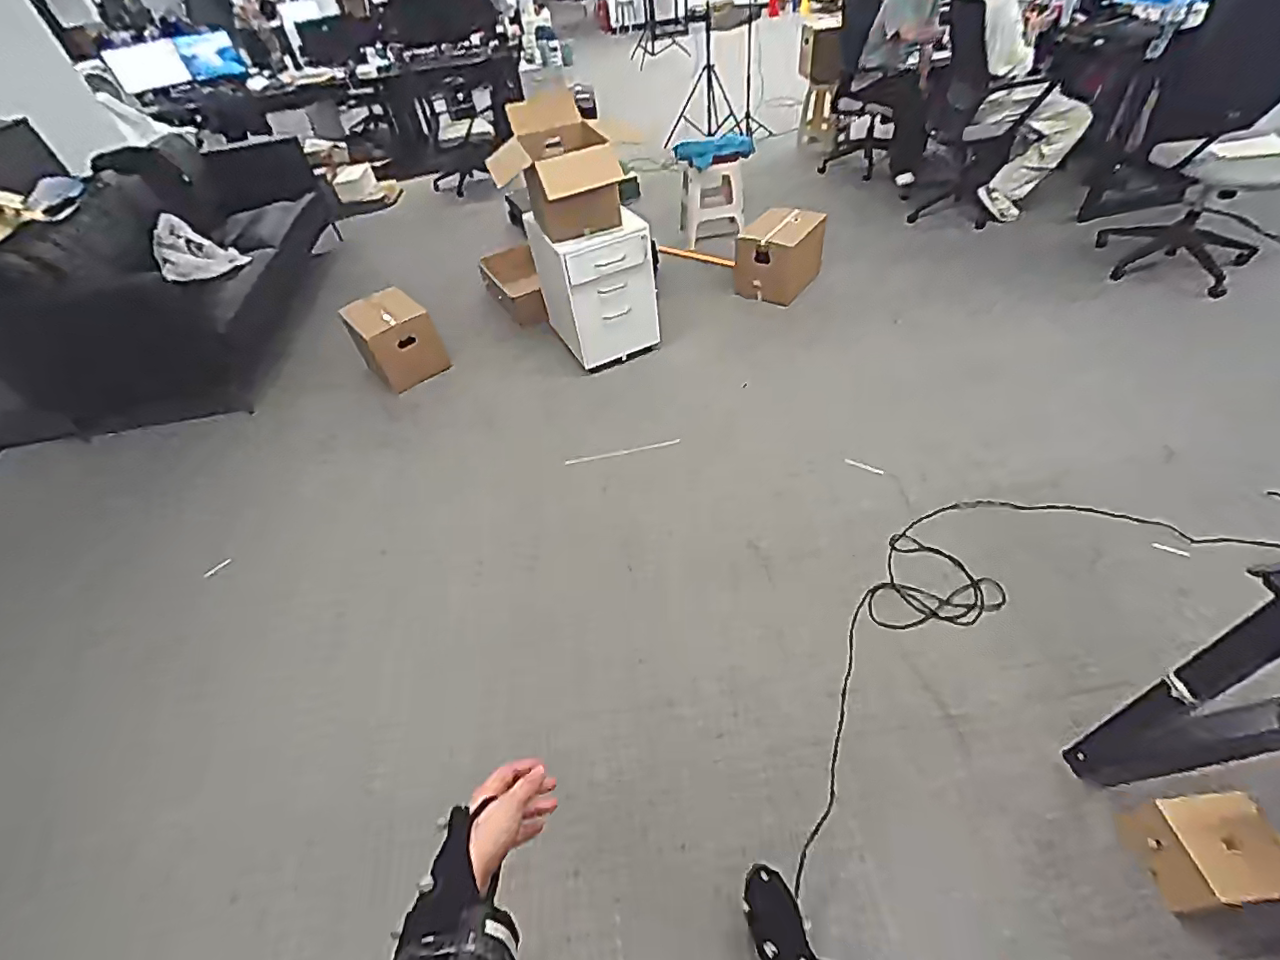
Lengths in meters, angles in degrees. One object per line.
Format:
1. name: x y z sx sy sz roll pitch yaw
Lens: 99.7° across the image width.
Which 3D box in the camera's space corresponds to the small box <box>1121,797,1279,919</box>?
1. small box: 1.111 0.749 1.068 0.179 0.176 0.168 -7 45 1
